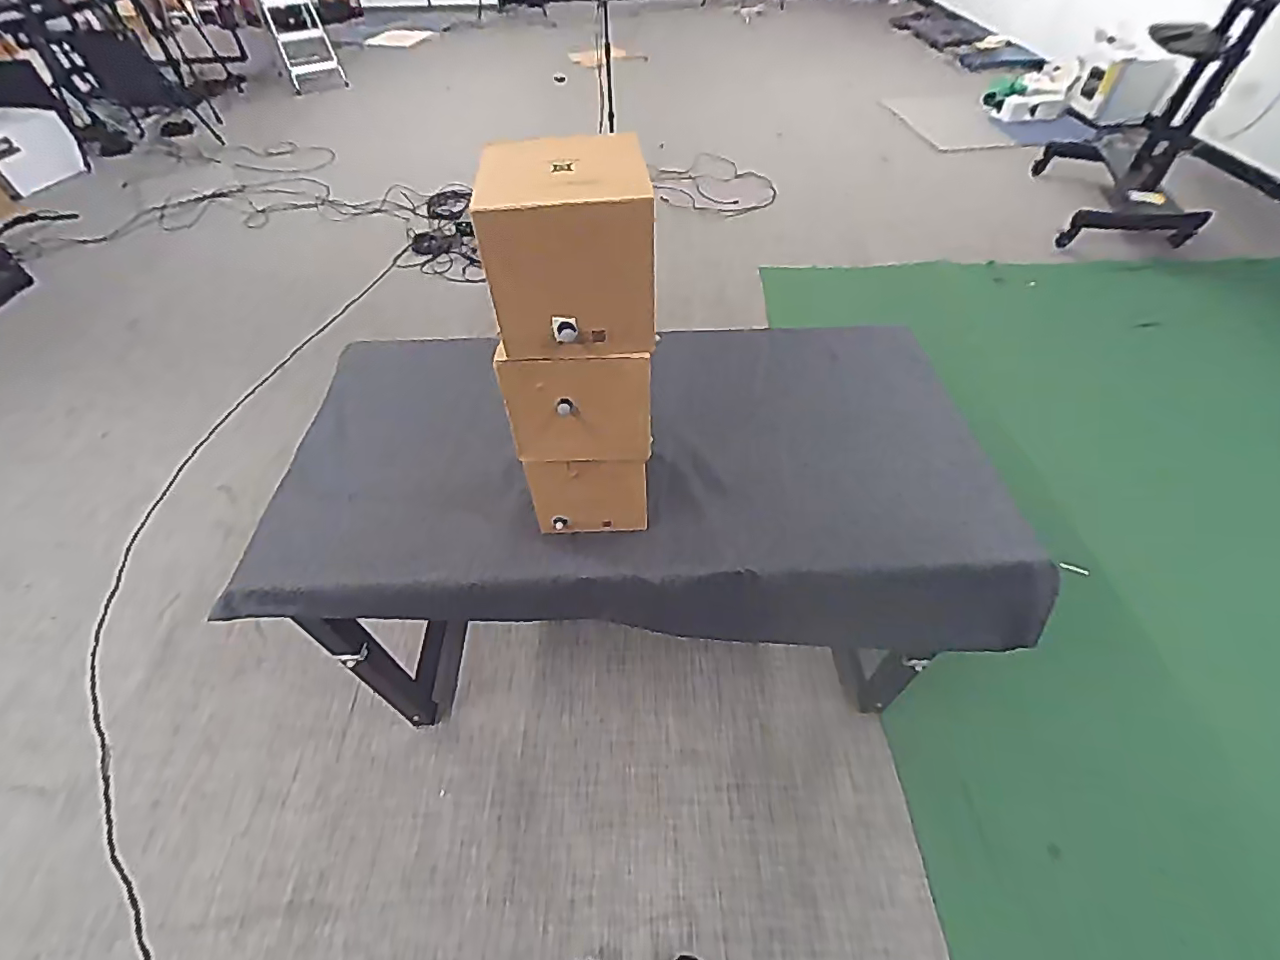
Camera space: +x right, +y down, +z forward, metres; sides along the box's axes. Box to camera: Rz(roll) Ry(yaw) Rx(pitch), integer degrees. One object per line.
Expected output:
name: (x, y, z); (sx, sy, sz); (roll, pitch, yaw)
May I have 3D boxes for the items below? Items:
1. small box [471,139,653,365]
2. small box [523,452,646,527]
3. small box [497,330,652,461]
small box: (-0.077, -0.251, 0.599); (0.168, 0.176, 0.179); (-7, 50, -3)
small box: (-0.076, -0.037, 0.846); (0.168, 0.176, 0.179); (-2, 48, 0)
small box: (-0.077, -0.139, 0.721); (0.179, 0.176, 0.168); (-3, 47, -2)
